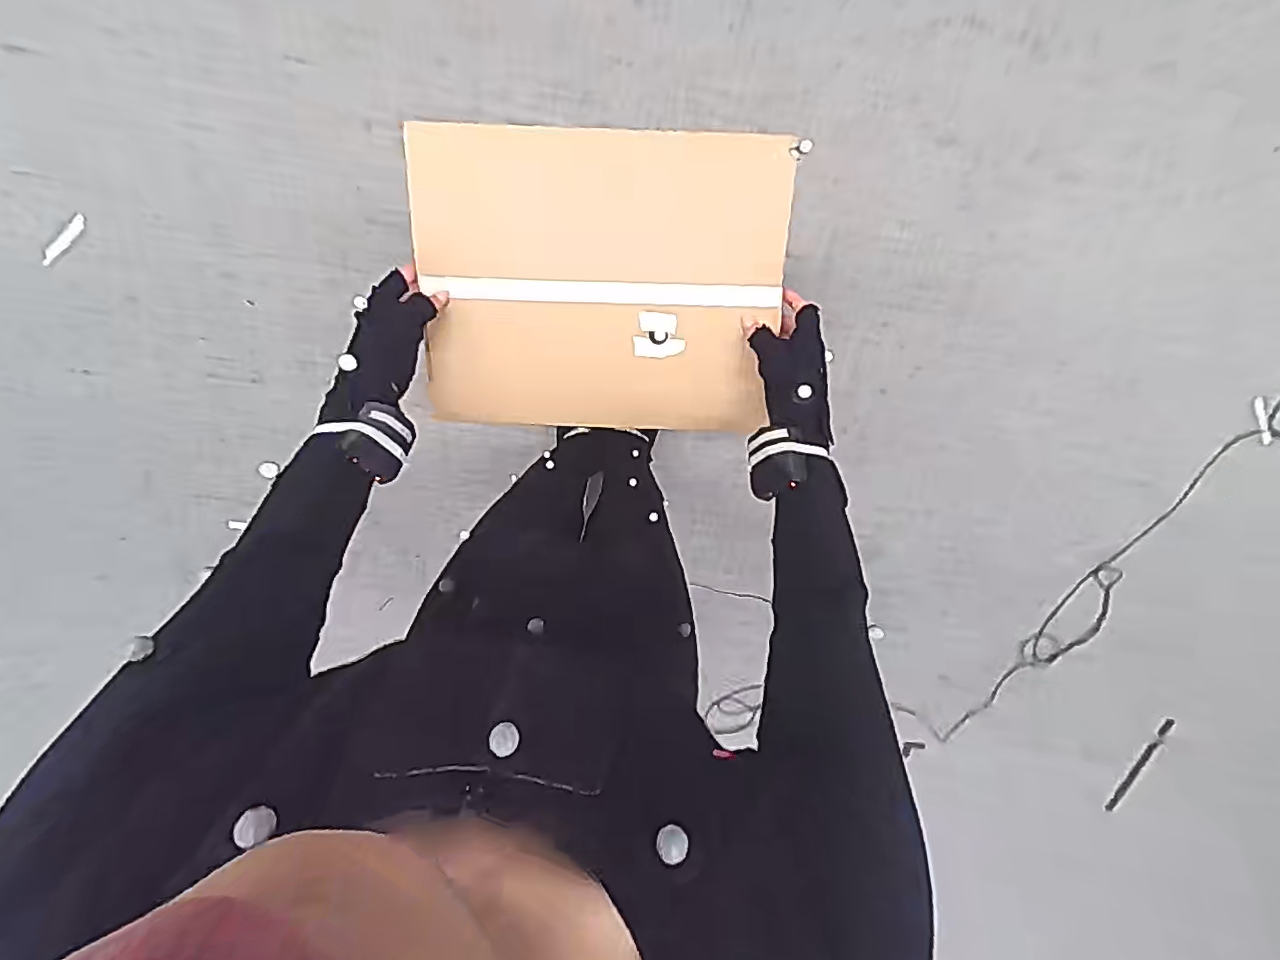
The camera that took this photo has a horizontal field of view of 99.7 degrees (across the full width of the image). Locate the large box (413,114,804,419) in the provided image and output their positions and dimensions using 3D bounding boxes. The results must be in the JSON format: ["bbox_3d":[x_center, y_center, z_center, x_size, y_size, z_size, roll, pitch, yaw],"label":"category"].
[{"bbox_3d":[-0.036,-0.271,0.735,0.408,0.320,0.320,1,111,-1],"label":"large box"}]
